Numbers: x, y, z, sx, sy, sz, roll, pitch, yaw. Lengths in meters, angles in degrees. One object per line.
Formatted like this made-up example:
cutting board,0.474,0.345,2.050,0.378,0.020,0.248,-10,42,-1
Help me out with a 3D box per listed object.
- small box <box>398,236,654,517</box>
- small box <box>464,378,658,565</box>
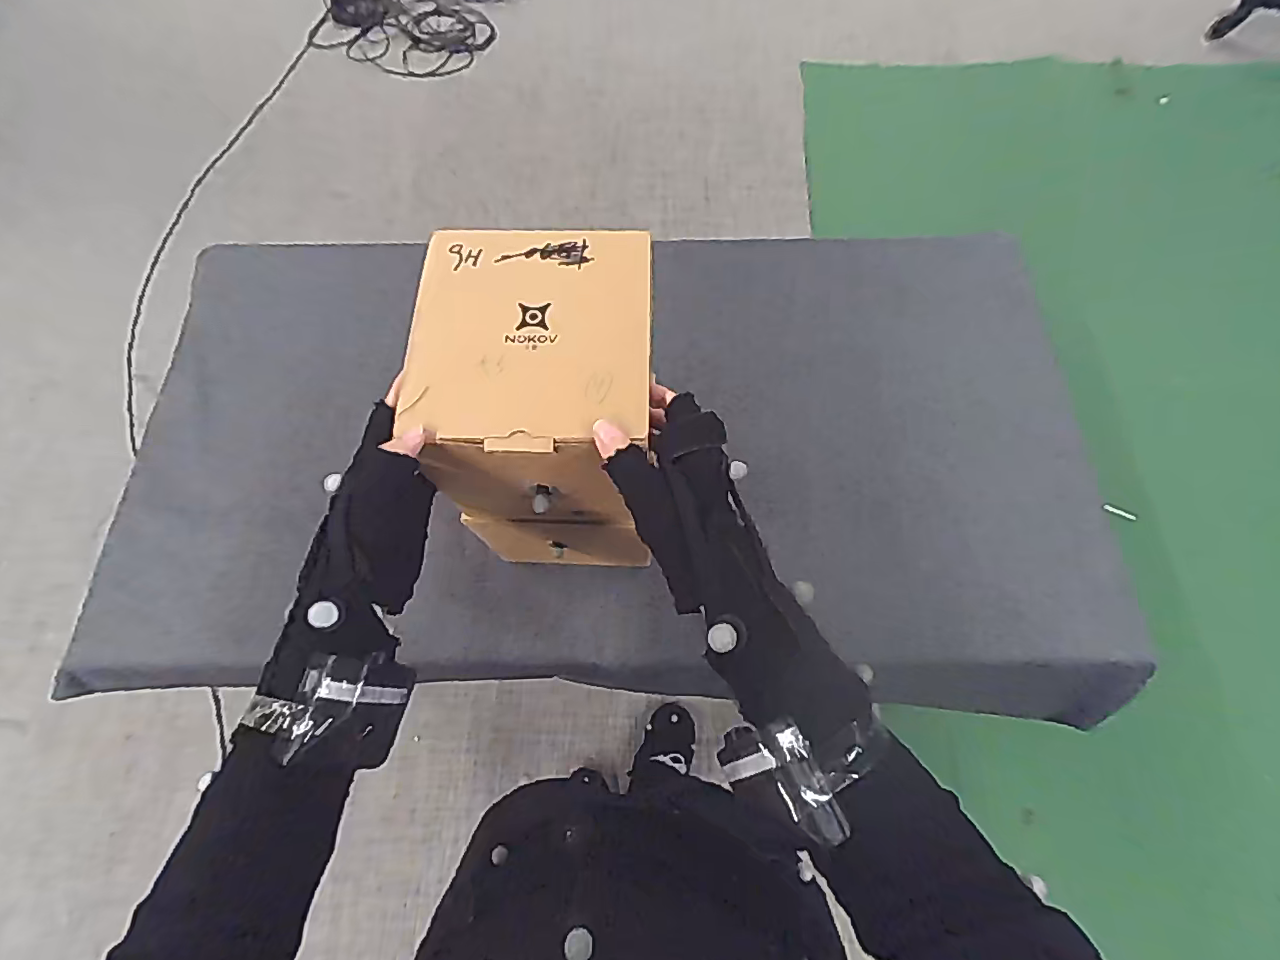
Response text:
small box,-0.072,-0.072,0.448,0.168,0.176,0.179,1,70,1
small box,-0.071,-0.005,0.597,0.179,0.176,0.168,1,68,2
